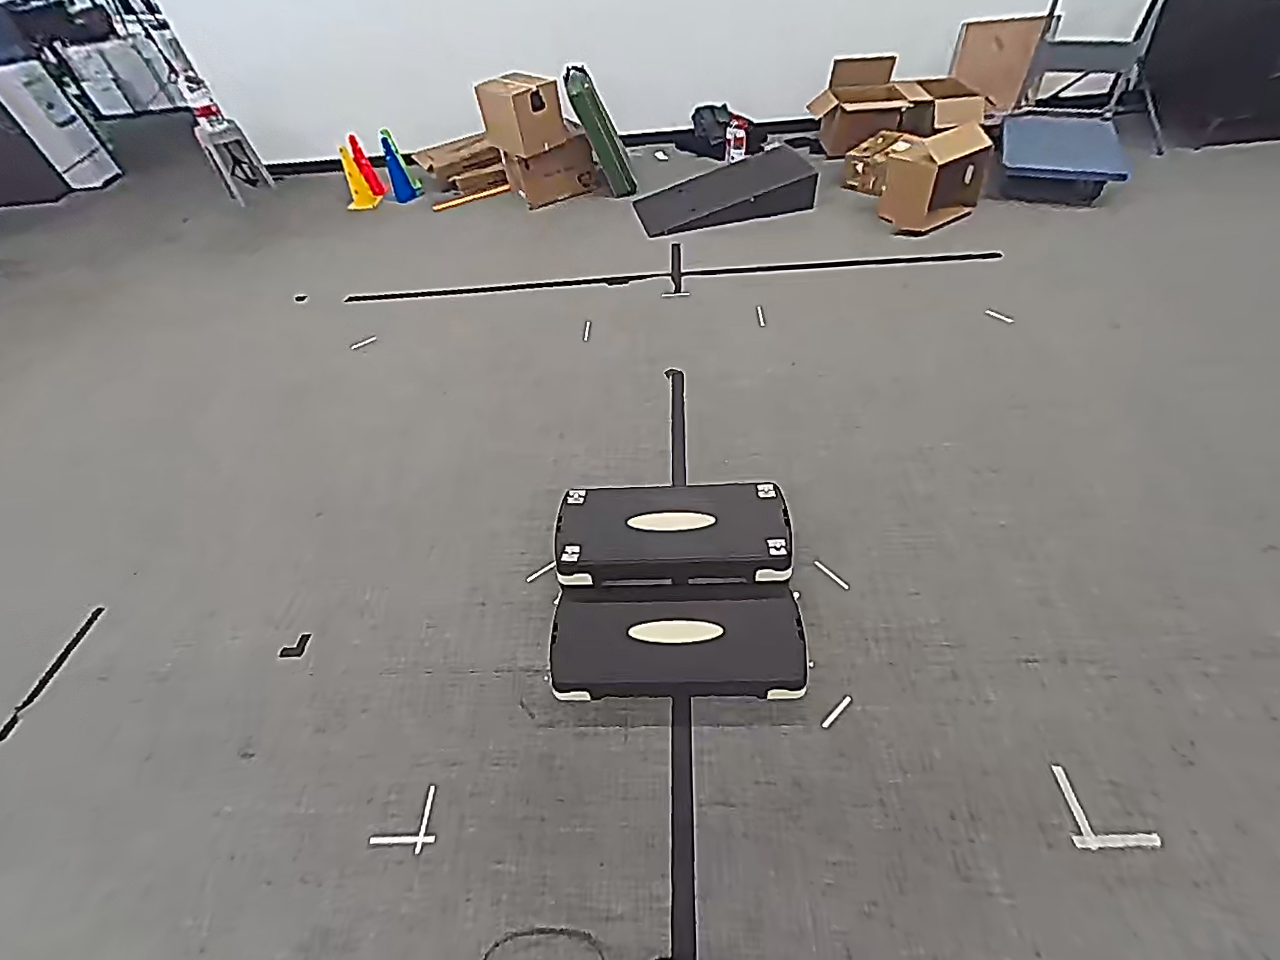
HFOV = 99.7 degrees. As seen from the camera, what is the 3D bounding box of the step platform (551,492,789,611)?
[{"bbox_3d":[0.082,0.205,1.588,0.684,0.204,0.286,-2,50,3],"label":"step platform"}]
